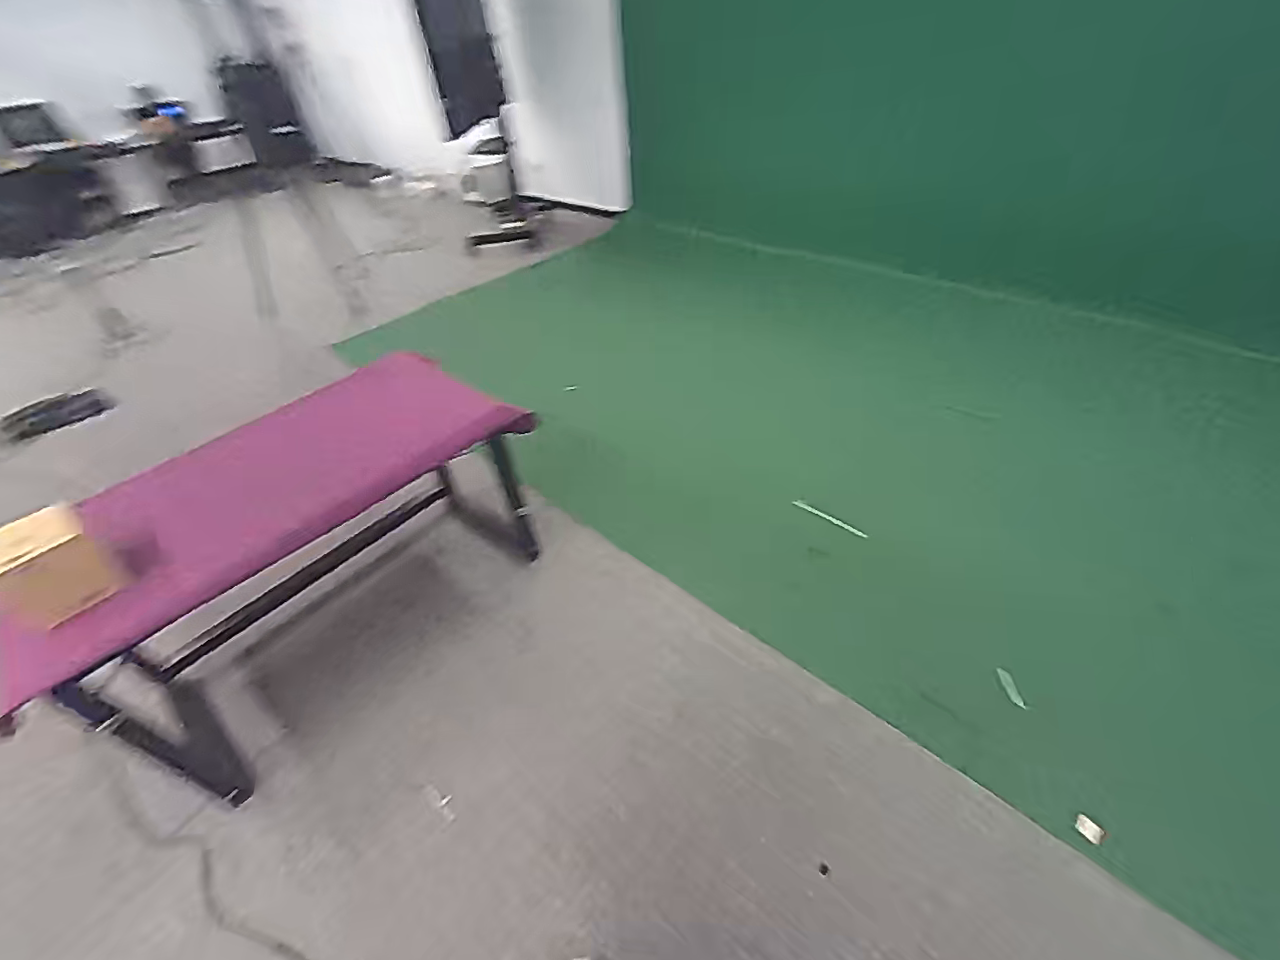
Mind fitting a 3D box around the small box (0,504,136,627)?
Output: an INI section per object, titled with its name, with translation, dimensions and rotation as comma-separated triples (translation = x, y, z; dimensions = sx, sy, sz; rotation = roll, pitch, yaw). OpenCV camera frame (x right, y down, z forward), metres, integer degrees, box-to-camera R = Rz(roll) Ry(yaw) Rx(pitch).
[small box]
translation = -1.269, 0.188, 1.184
dimensions = 0.179, 0.176, 0.168
rotation = 27, 51, 32
